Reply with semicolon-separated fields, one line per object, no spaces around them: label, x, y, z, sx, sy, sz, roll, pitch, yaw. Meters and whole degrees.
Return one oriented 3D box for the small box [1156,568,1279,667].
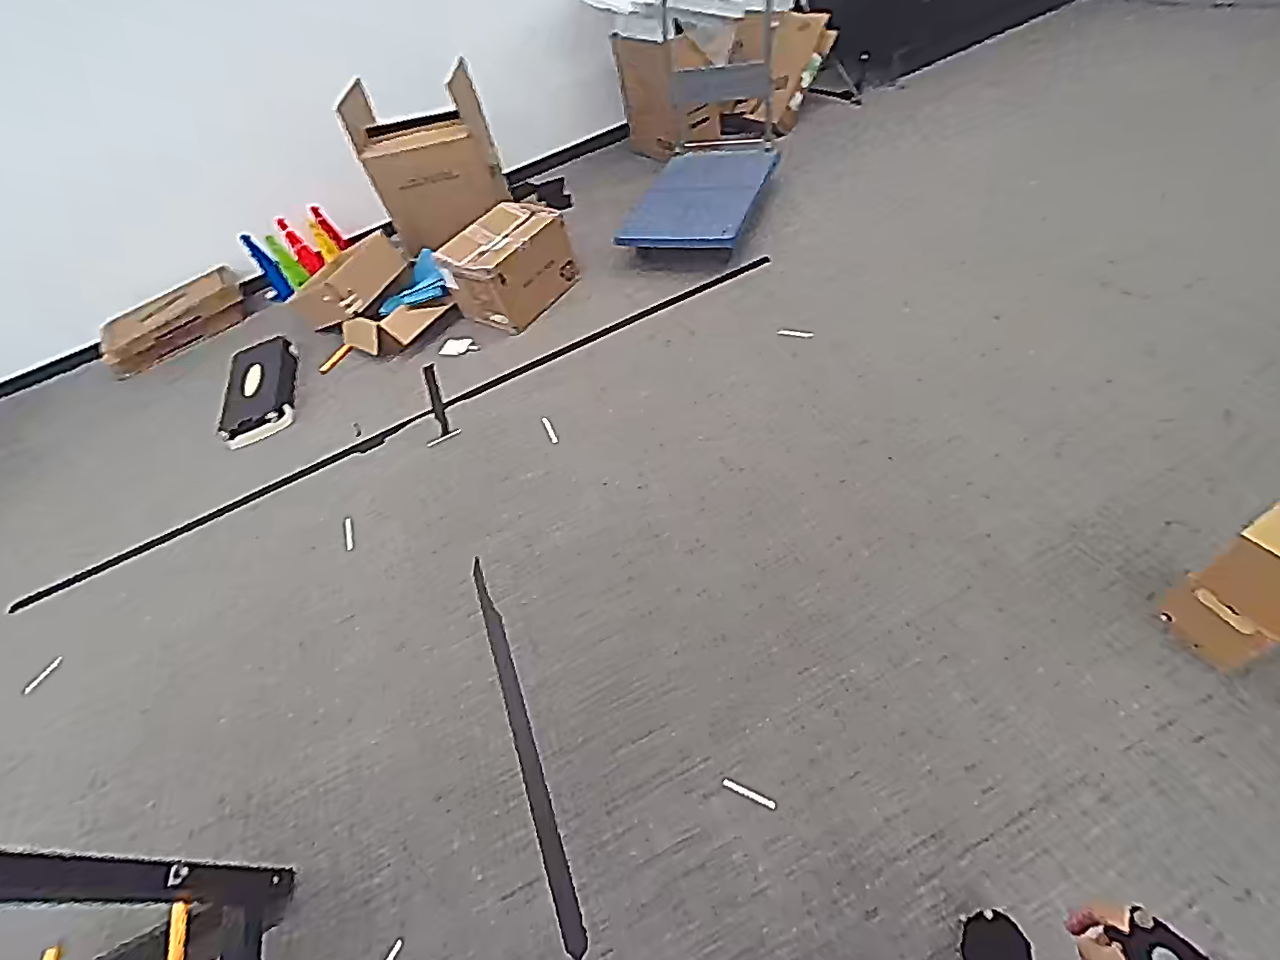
small box;1.258;0.267;1.142;0.179;0.176;0.168;-24;50;-6

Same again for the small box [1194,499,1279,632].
small box;1.231;0.162;1.021;0.168;0.176;0.179;-30;51;-10
